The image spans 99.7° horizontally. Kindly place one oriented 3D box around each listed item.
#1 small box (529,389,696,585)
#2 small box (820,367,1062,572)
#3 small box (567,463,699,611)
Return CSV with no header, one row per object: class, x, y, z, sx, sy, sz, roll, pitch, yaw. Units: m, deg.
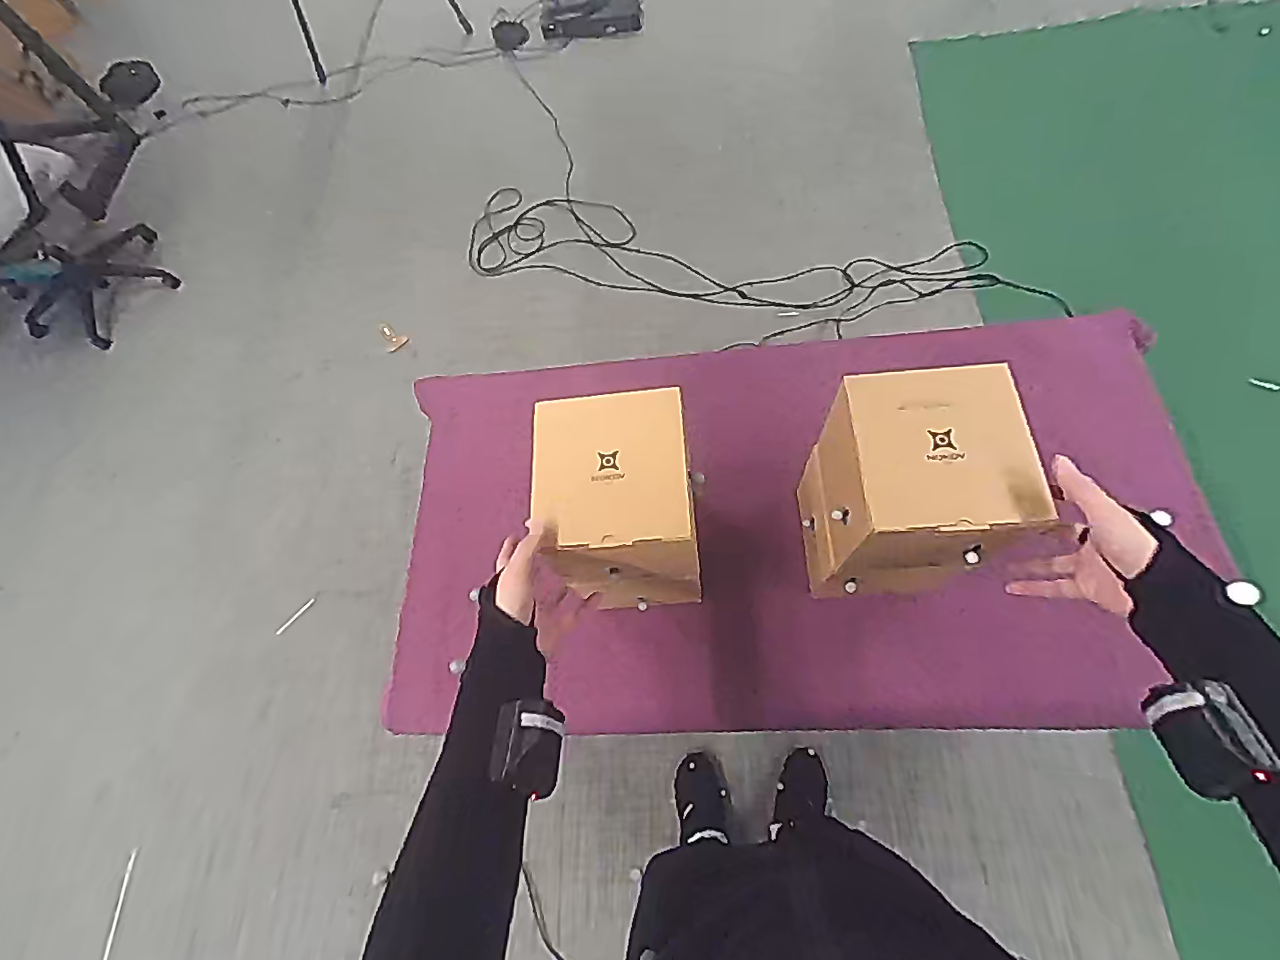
small box,-0.023,0.016,0.632,0.168,0.176,0.179,-5,68,5
small box,0.304,0.001,0.593,0.168,0.176,0.179,-3,66,6
small box,-0.004,0.083,0.778,0.168,0.176,0.179,-5,67,6
